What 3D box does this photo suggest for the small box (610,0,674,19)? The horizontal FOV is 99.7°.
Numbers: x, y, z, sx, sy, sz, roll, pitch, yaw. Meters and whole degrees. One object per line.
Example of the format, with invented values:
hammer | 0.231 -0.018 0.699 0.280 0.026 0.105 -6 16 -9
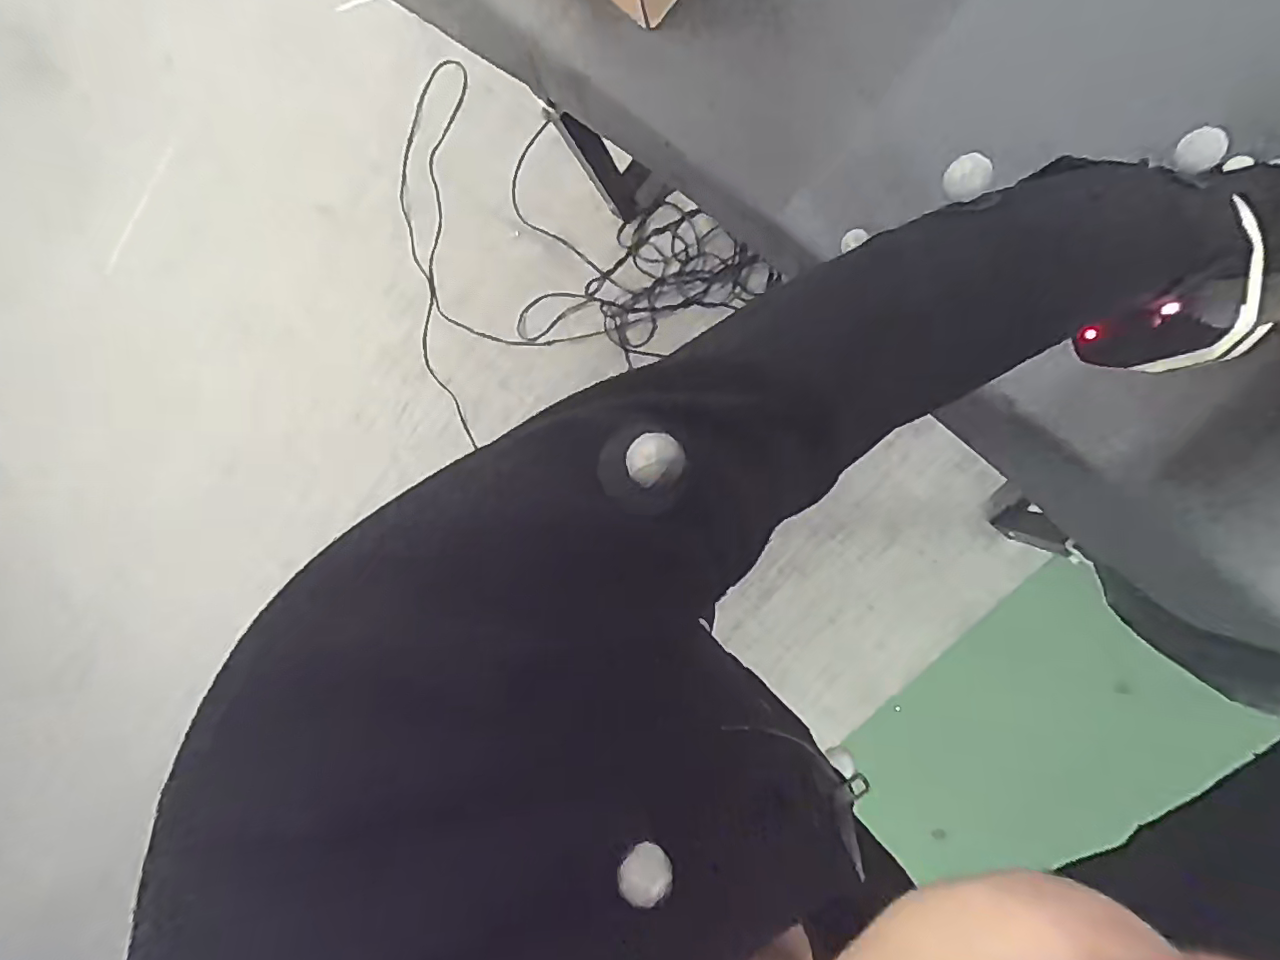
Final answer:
small box | -0.014 -0.576 0.477 0.179 0.176 0.168 45 100 8
